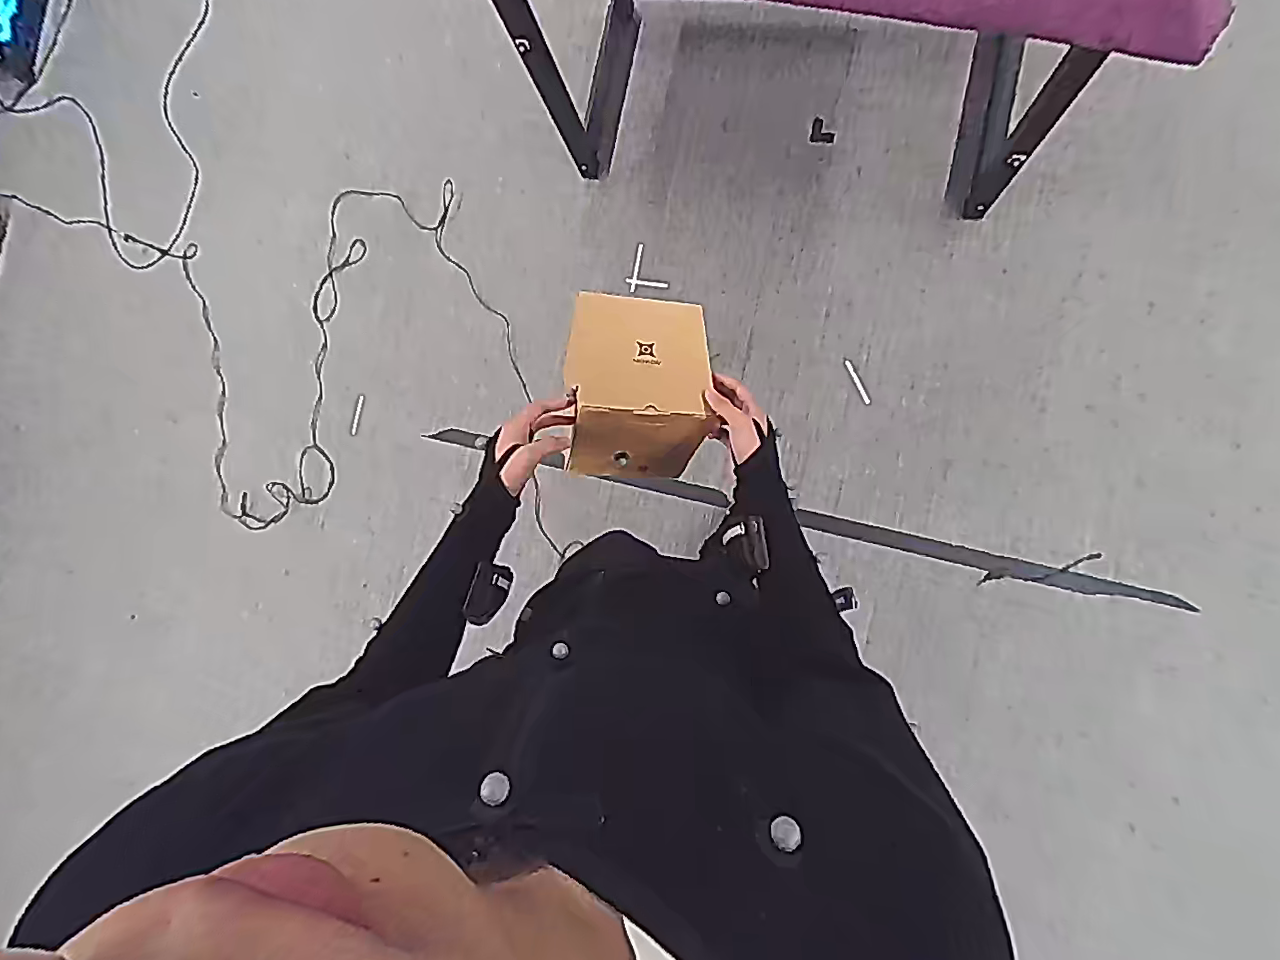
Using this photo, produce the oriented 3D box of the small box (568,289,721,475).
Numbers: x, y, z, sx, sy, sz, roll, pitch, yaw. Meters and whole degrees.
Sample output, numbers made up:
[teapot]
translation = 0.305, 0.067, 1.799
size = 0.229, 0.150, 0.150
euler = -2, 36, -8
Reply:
[small box]
translation = -0.006, -0.123, 0.726
size = 0.168, 0.176, 0.179
euler = 2, 65, -13
